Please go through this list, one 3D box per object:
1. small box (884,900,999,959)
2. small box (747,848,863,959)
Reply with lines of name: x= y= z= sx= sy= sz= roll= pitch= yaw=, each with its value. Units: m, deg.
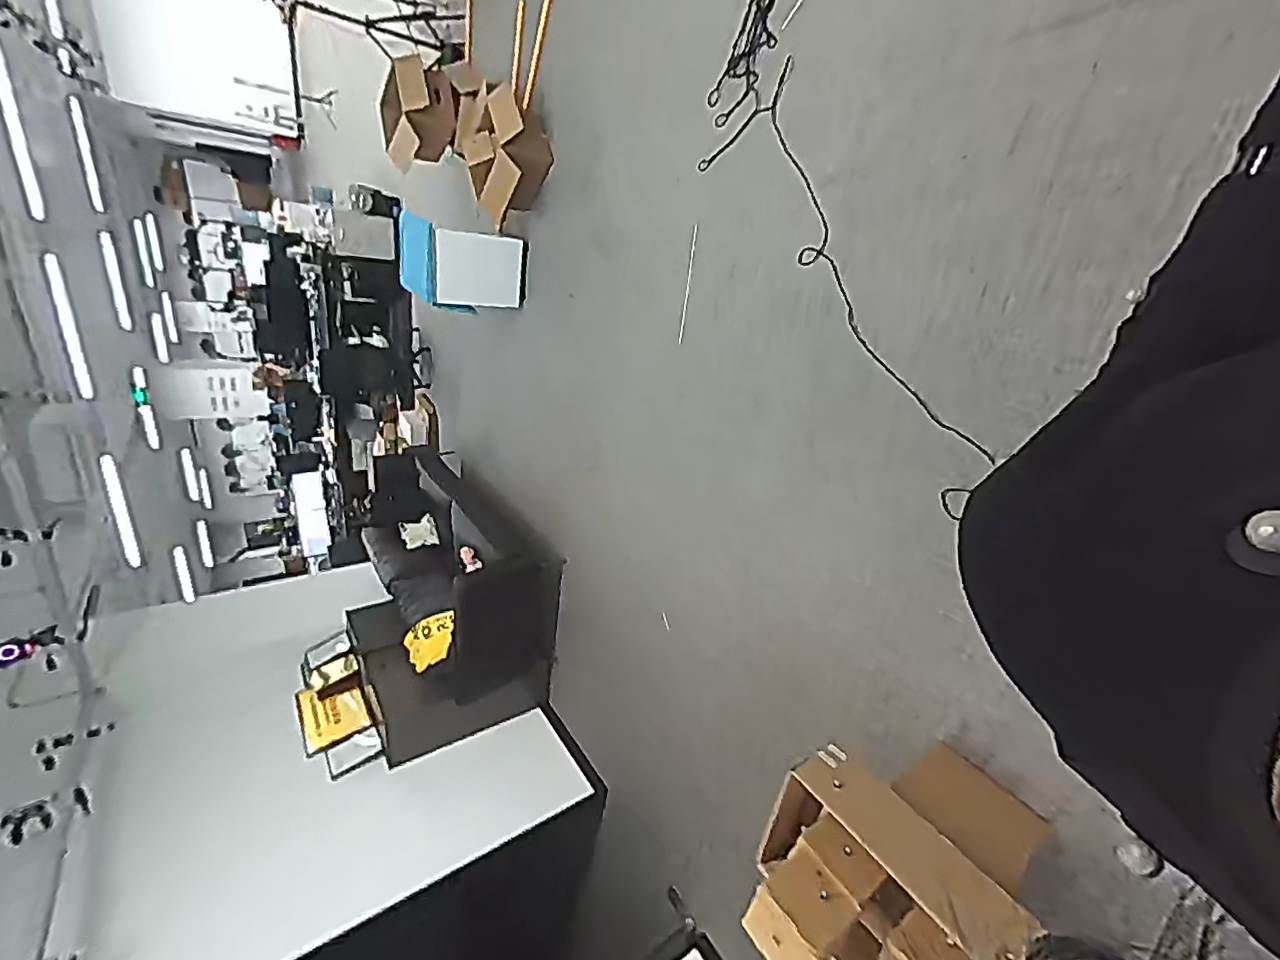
small box: x=0.642 y=1.072 z=1.164 sx=0.168 sy=0.176 sz=0.179 roll=31 pitch=121 yaw=48
small box: x=0.379 y=1.005 z=1.241 sx=0.168 sy=0.176 sz=0.179 roll=38 pitch=127 yaw=43
